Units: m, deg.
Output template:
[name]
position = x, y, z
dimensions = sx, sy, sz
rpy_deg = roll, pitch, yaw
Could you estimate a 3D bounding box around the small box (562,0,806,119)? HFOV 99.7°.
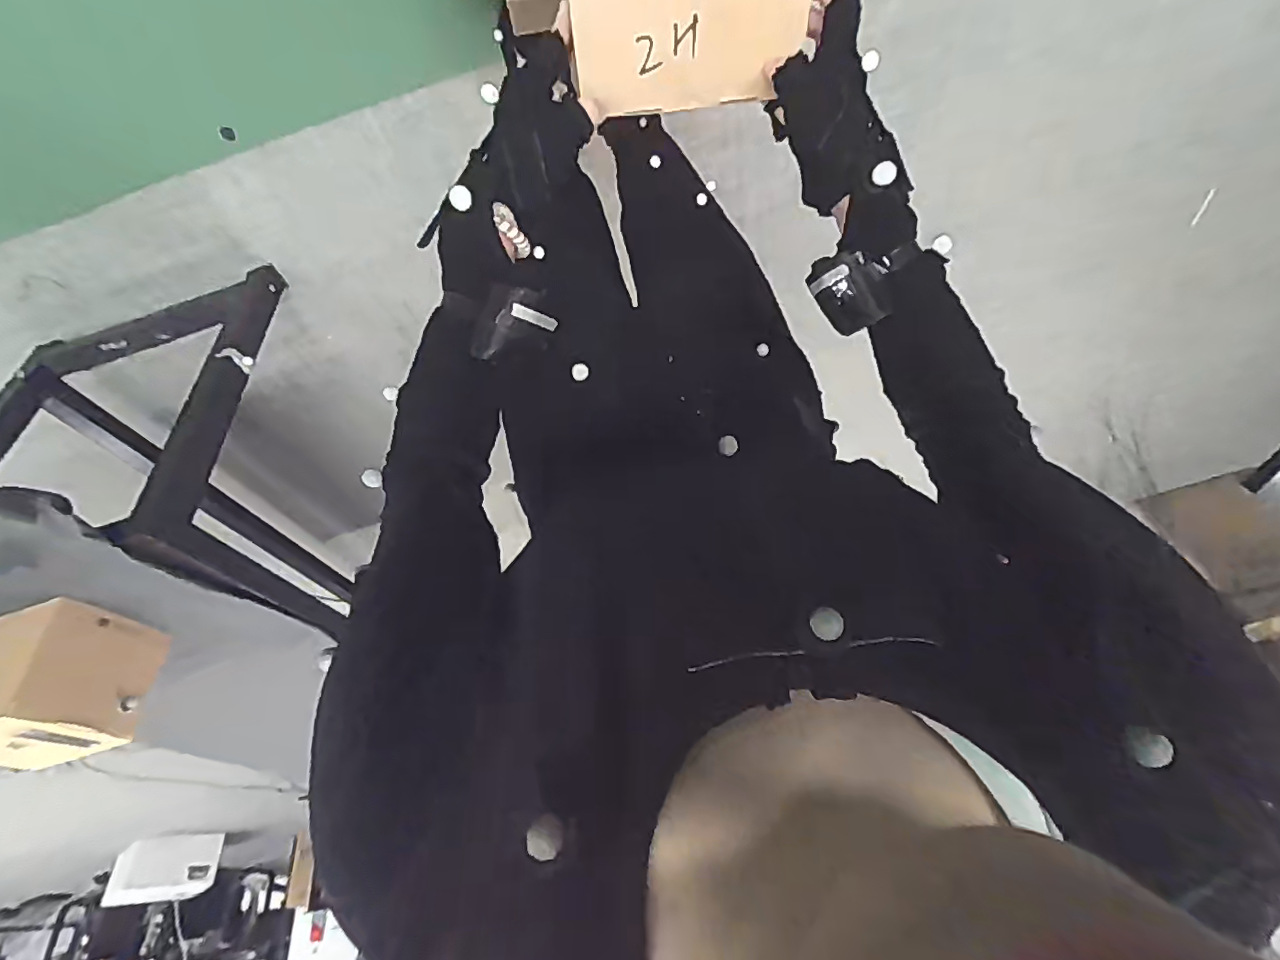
[small box]
position = 0.022, -0.396, 0.397
dimensions = 0.168, 0.176, 0.179
rpy_deg = -7, 139, -2
